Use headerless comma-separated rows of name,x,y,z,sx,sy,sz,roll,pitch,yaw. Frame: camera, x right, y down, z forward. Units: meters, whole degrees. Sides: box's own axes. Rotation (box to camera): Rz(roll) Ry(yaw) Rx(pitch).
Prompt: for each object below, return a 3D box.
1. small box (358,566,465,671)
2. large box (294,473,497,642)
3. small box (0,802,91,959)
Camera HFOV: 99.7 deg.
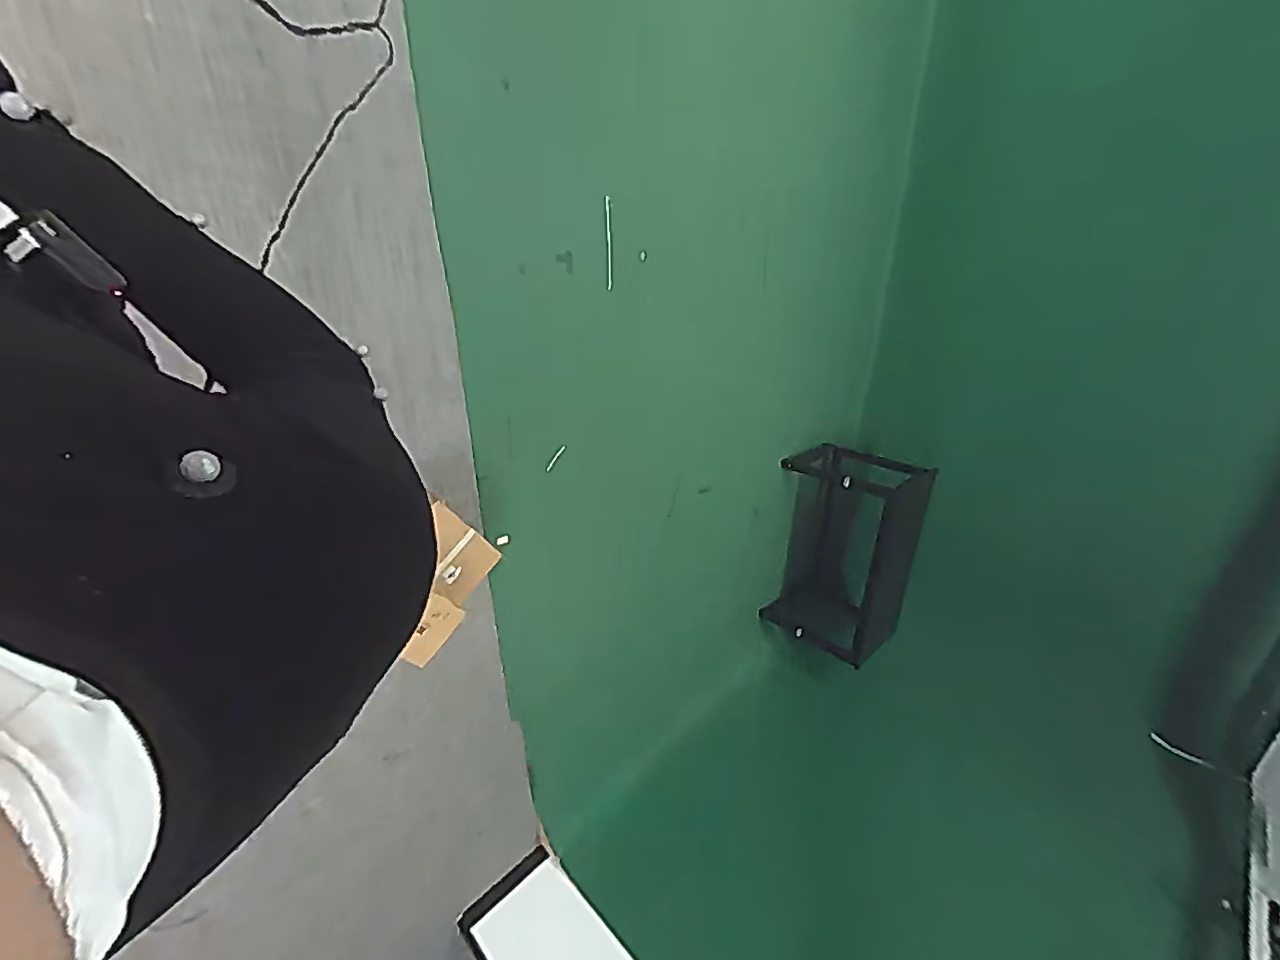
small box,-0.604,0.358,1.414,0.179,0.176,0.168,-53,136,-18
large box,-0.723,0.253,1.620,0.408,0.320,0.320,-53,138,-18
small box,-1.146,0.736,0.996,0.168,0.176,0.179,-10,112,-44
